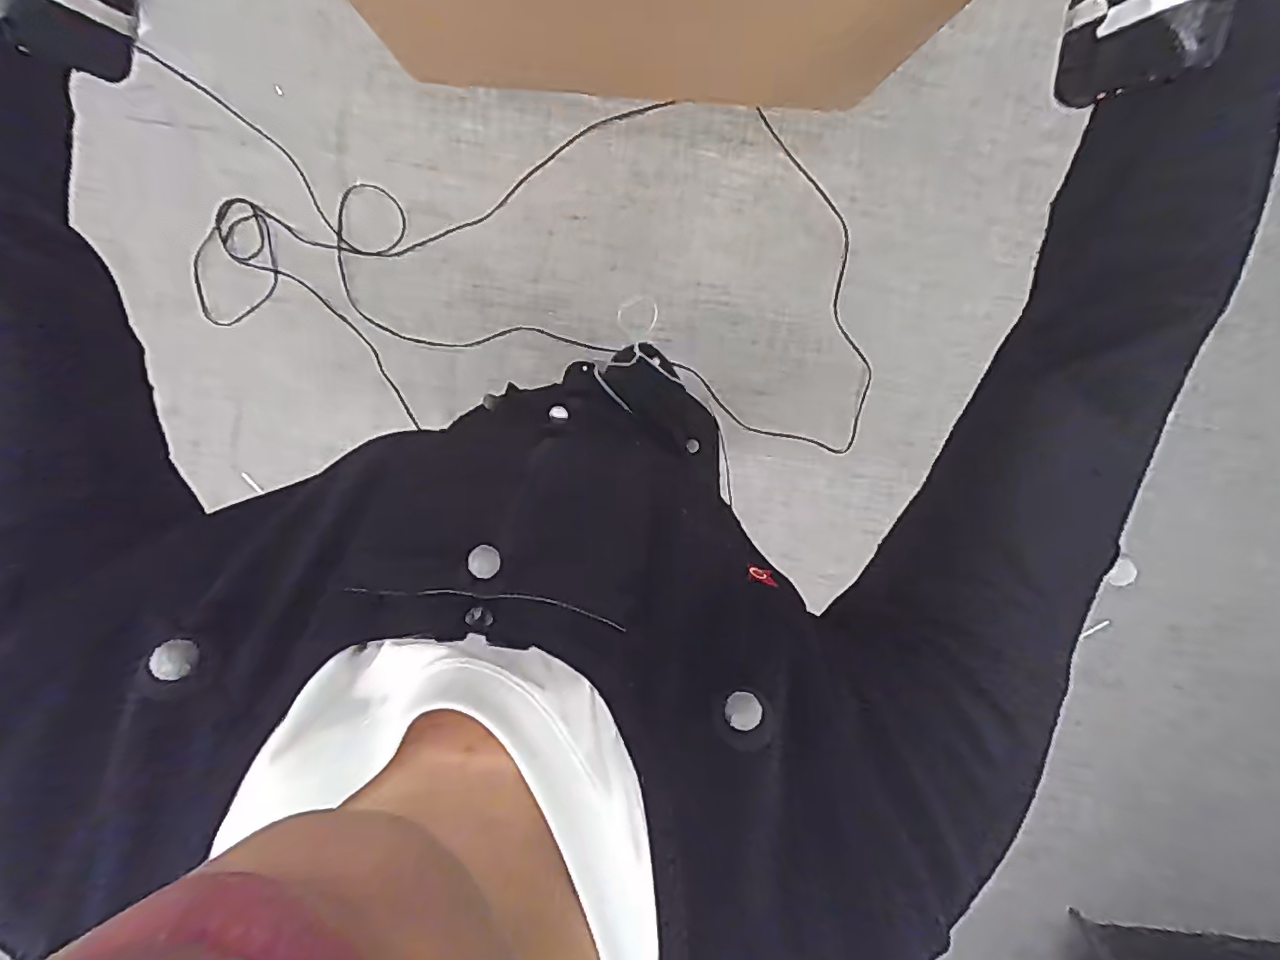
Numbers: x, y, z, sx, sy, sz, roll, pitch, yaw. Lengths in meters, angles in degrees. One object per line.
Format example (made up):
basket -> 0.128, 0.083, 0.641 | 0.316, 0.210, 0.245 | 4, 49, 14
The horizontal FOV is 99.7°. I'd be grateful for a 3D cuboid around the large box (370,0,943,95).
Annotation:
large box -> 0.011, -0.466, 0.311 | 0.408, 0.320, 0.320 | 1, 106, -4
